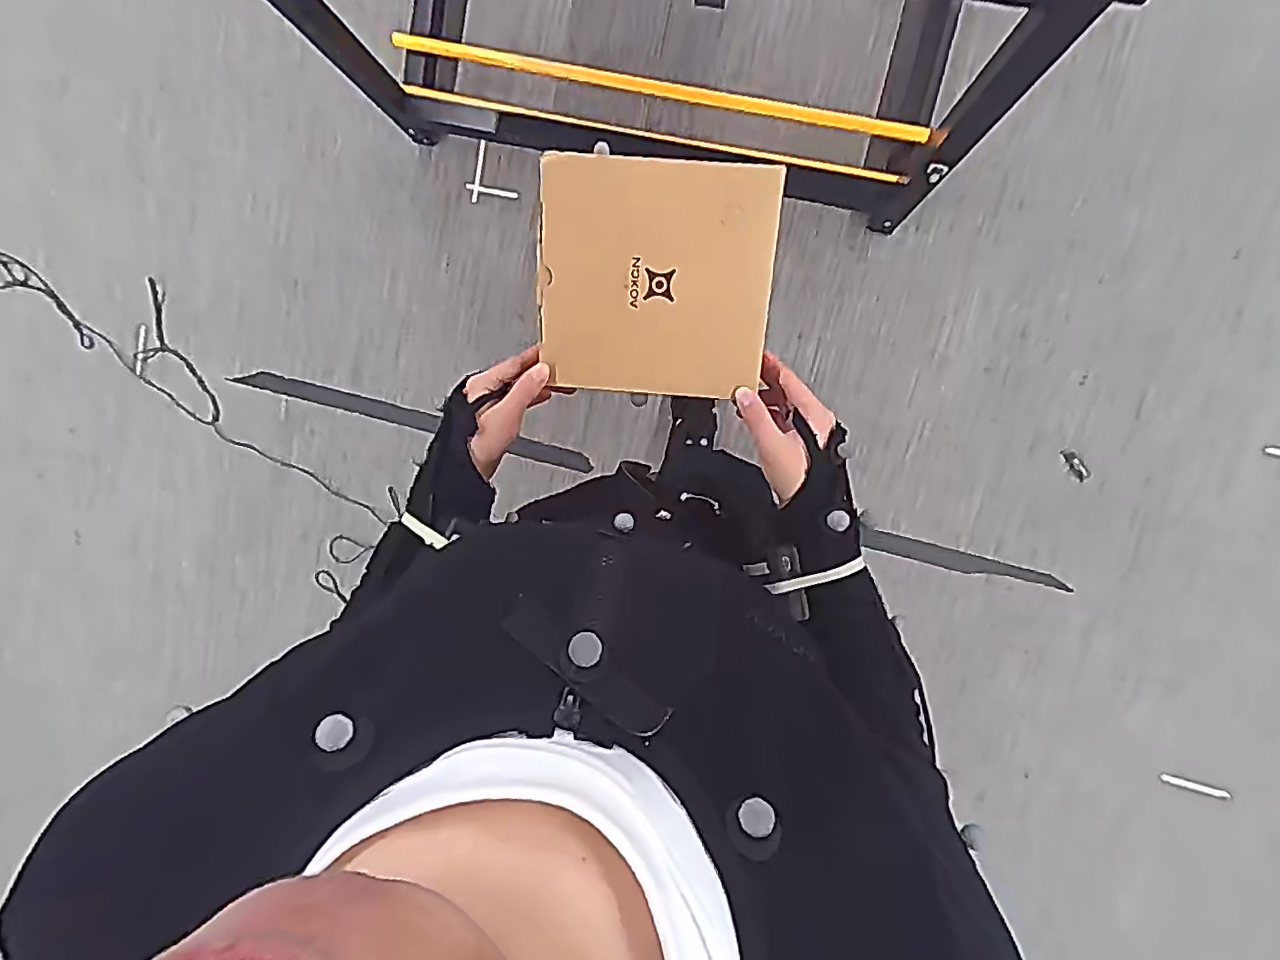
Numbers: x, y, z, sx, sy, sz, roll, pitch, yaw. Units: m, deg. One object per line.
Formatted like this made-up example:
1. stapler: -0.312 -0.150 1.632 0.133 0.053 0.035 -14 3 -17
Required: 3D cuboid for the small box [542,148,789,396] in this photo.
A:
1. small box: 0.019 -0.175 0.481 0.179 0.176 0.168 5 107 4
